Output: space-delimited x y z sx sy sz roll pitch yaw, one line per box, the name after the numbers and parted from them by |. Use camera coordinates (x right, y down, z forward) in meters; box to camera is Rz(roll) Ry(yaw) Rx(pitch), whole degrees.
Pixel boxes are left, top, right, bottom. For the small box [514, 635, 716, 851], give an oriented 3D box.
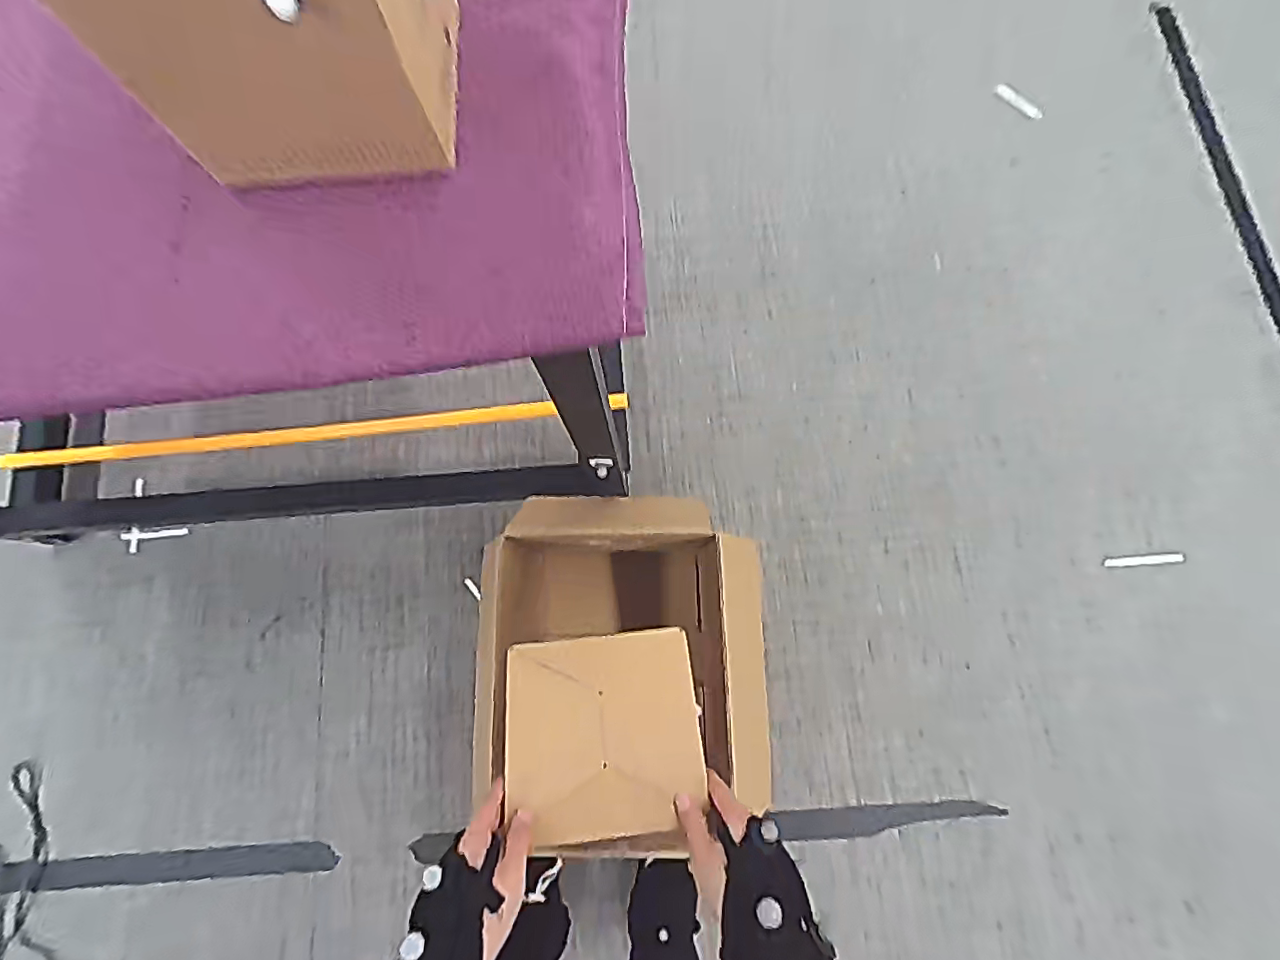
-0.031 0.268 0.551 0.179 0.176 0.168 -5 57 -4 | small box

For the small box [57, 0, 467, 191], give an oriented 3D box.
-0.223 -0.320 0.353 0.179 0.176 0.168 -4 74 0 | small box
